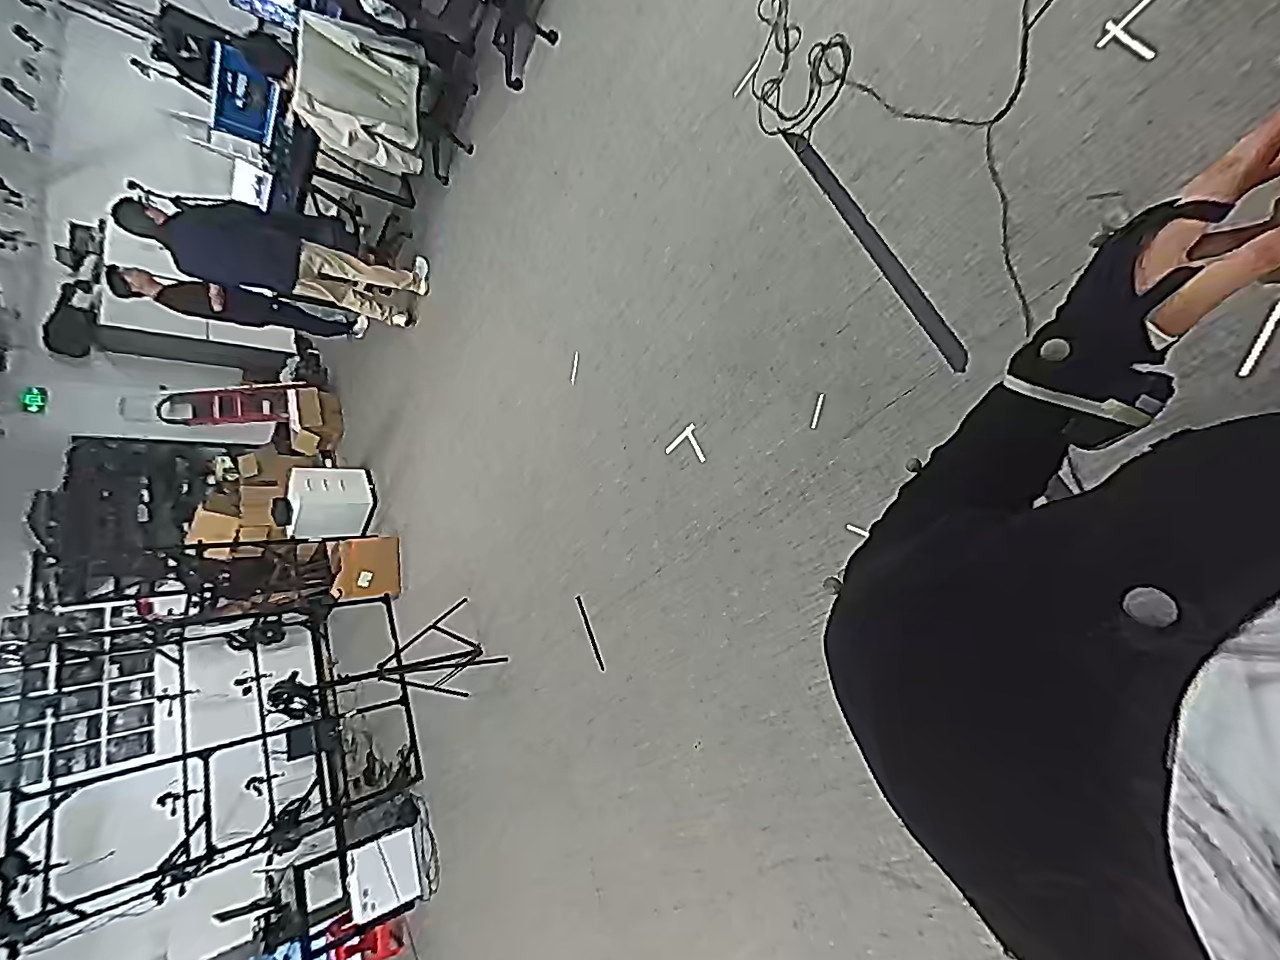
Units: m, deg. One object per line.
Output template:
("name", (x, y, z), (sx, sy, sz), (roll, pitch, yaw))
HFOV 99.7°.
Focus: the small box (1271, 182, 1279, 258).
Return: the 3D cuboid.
("small box", (0.457, -0.218, 0.265), (0.168, 0.176, 0.179), (18, 102, 46))
